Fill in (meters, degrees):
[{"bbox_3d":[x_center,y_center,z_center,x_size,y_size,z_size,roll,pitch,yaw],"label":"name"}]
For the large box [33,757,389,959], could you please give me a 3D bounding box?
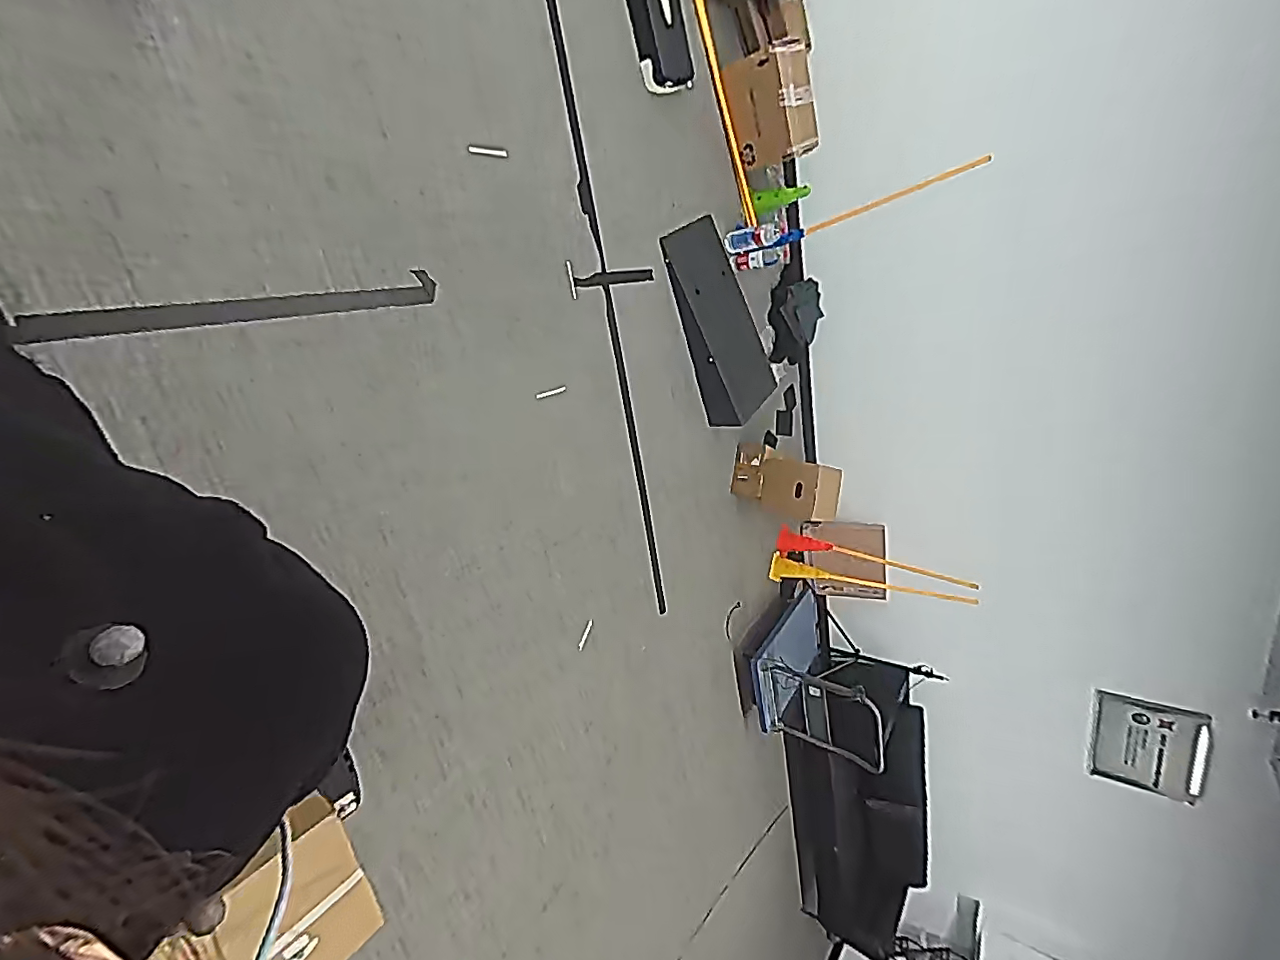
[{"bbox_3d":[-0.777,0.828,1.016,0.408,0.320,0.320,-29,116,-48],"label":"large box"}]
